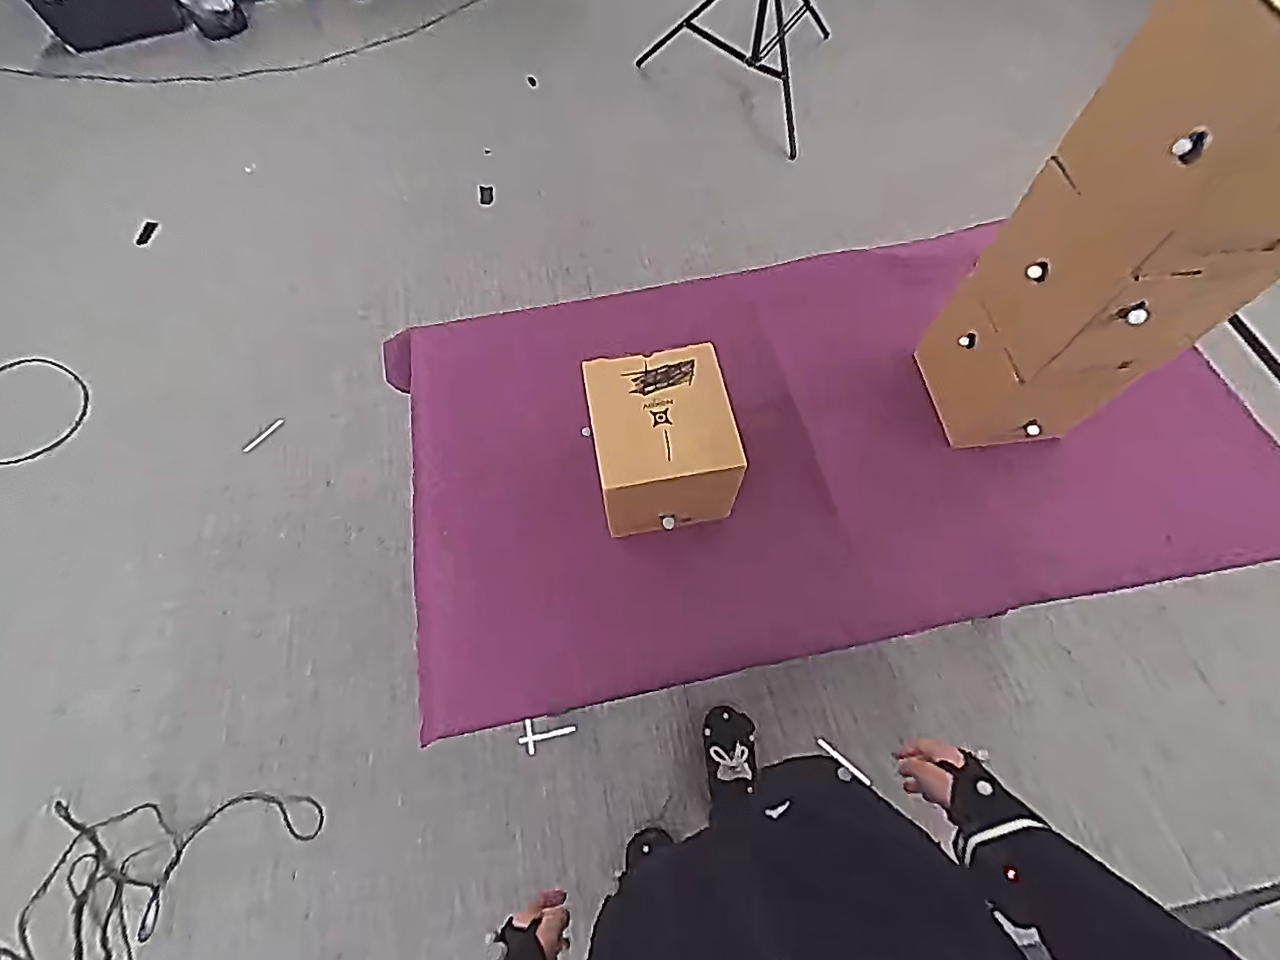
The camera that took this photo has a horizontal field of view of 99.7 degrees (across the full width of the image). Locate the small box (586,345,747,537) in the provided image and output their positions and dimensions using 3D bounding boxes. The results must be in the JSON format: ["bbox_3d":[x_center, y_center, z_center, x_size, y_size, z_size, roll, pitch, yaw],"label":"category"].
[{"bbox_3d":[0.027,-0.044,0.699,0.168,0.176,0.179,-10,66,-3],"label":"small box"}]

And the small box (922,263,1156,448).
[{"bbox_3d":[0.519,-0.163,0.739,0.168,0.176,0.179,-6,65,0],"label":"small box"}]

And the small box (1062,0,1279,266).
[{"bbox_3d":[0.506,-0.295,0.440,0.168,0.176,0.179,-4,64,-1],"label":"small box"}]
